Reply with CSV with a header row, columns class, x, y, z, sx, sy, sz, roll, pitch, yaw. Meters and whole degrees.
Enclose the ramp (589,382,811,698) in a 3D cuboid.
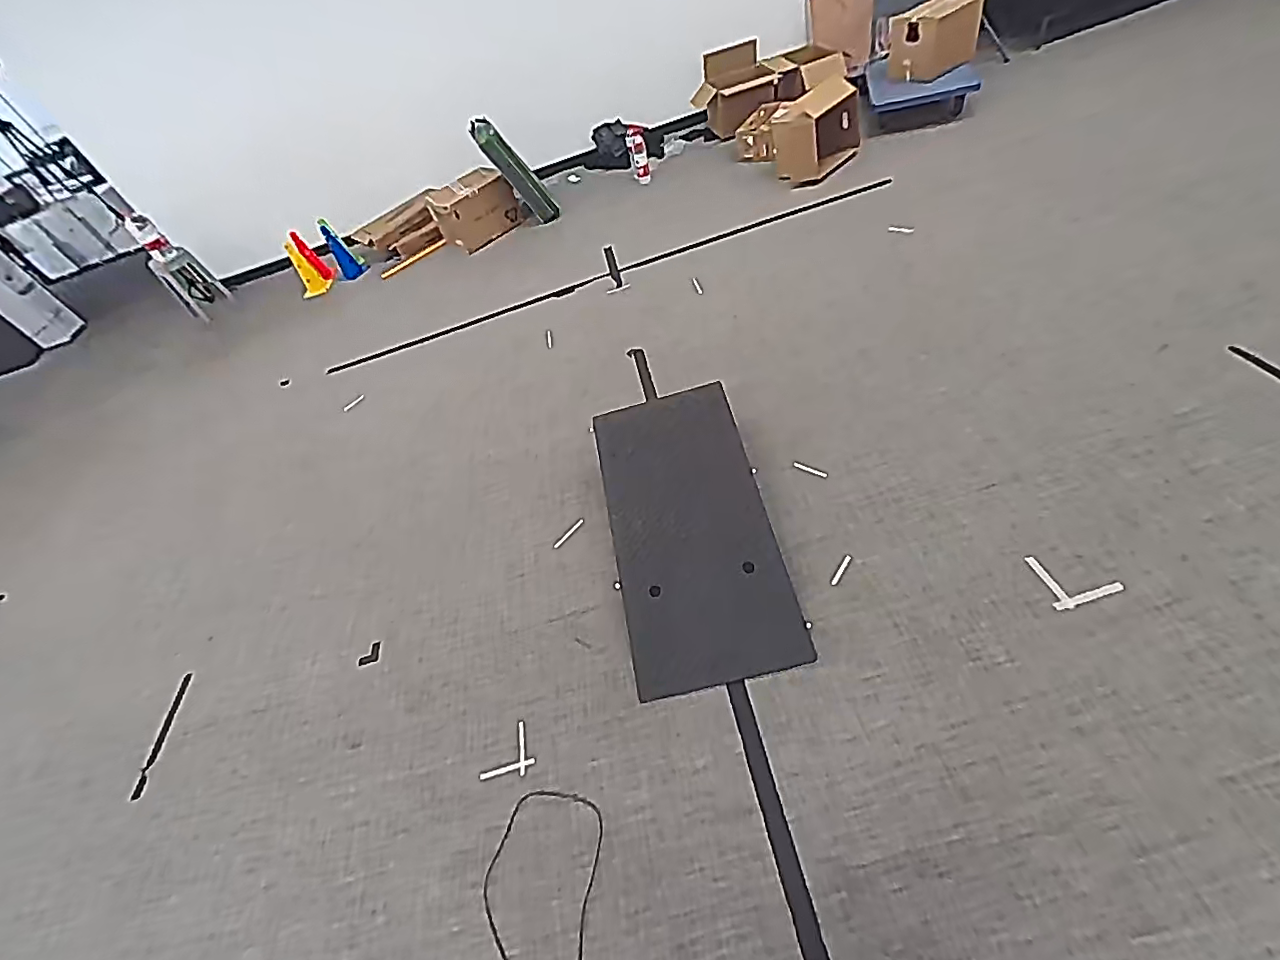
class,x,y,z,sx,sy,sz,roll,pitch,yaw
ramp,0.139,0.123,1.713,0.509,0.206,0.991,-16,48,3
